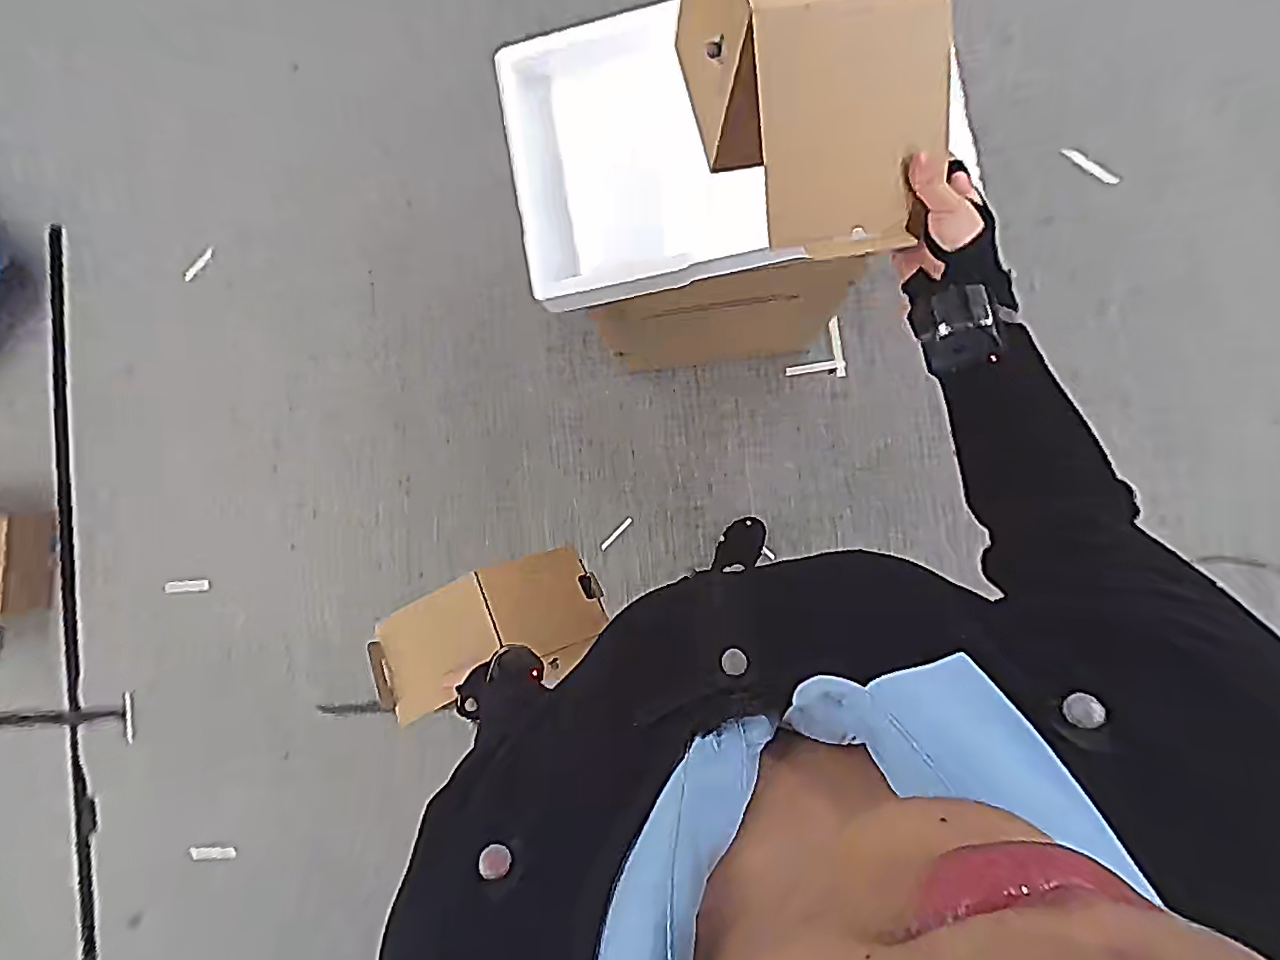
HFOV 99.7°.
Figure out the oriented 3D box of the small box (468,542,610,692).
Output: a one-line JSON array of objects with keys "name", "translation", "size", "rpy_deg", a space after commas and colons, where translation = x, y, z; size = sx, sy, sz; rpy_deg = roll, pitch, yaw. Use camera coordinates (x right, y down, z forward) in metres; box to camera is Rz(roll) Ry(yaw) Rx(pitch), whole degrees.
[{"name": "small box", "translation": [-0.178, 0.229, 0.898], "size": [0.179, 0.176, 0.168], "rpy_deg": [-12, 62, -32]}]
